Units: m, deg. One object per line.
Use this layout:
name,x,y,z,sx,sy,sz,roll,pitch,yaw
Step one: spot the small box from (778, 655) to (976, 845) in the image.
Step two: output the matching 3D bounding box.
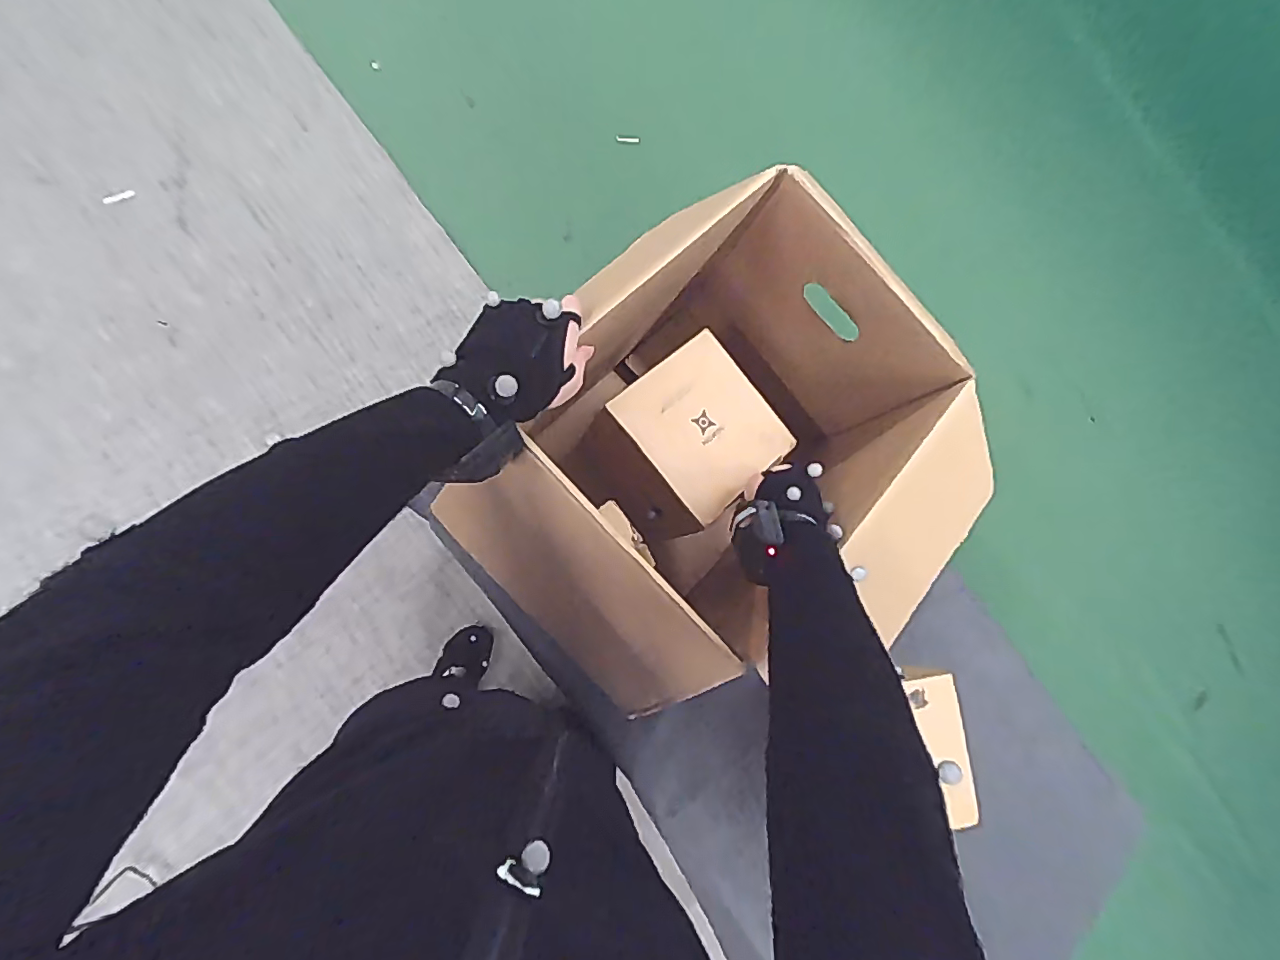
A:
small box,0.300,0.339,0.717,0.168,0.176,0.179,-1,80,-14
